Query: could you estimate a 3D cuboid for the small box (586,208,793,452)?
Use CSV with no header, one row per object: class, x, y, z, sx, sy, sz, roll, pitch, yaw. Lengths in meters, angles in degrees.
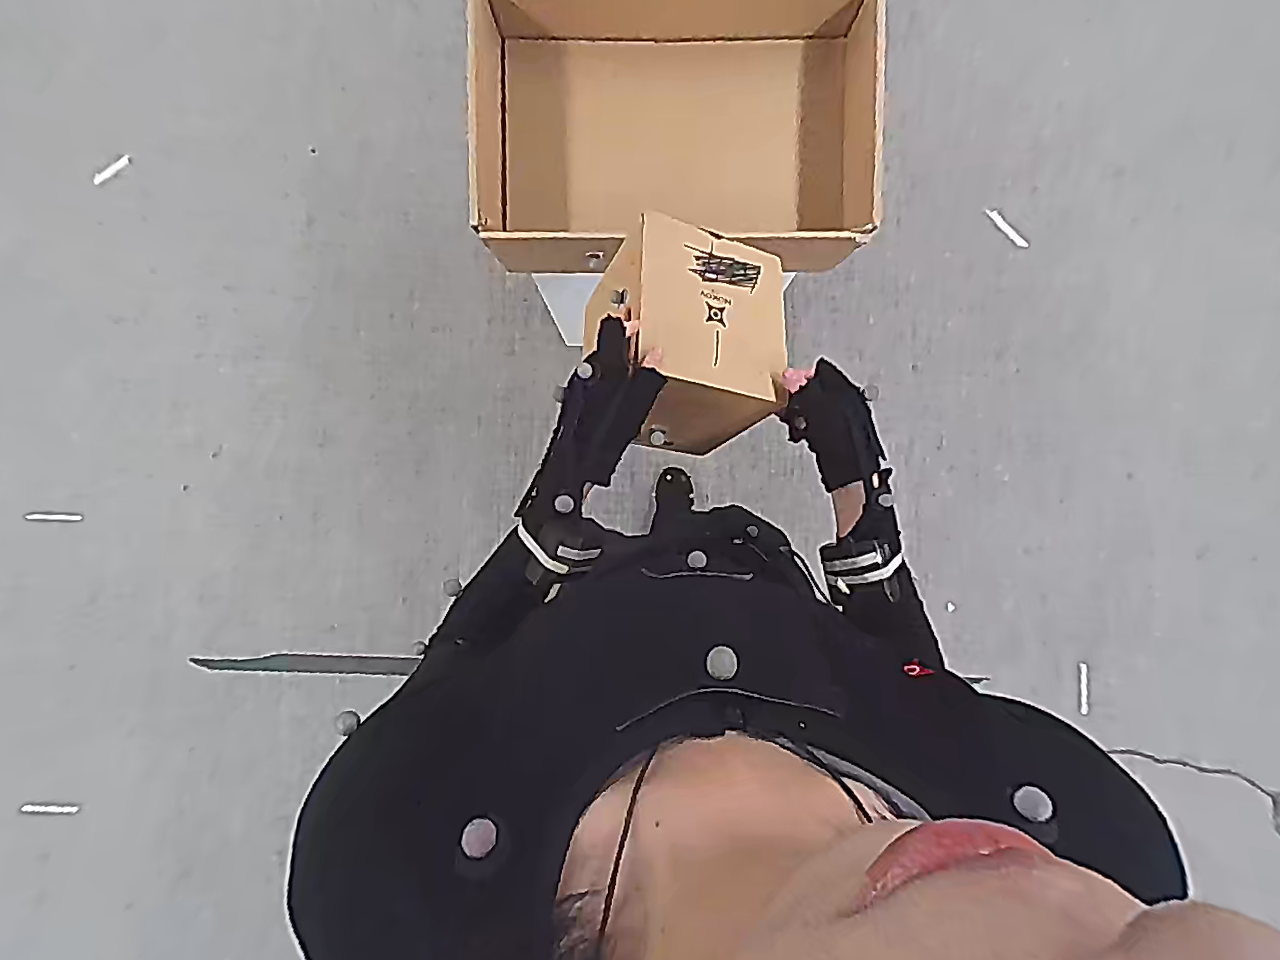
small box,0.045,-0.148,0.596,0.168,0.176,0.179,8,71,-23
